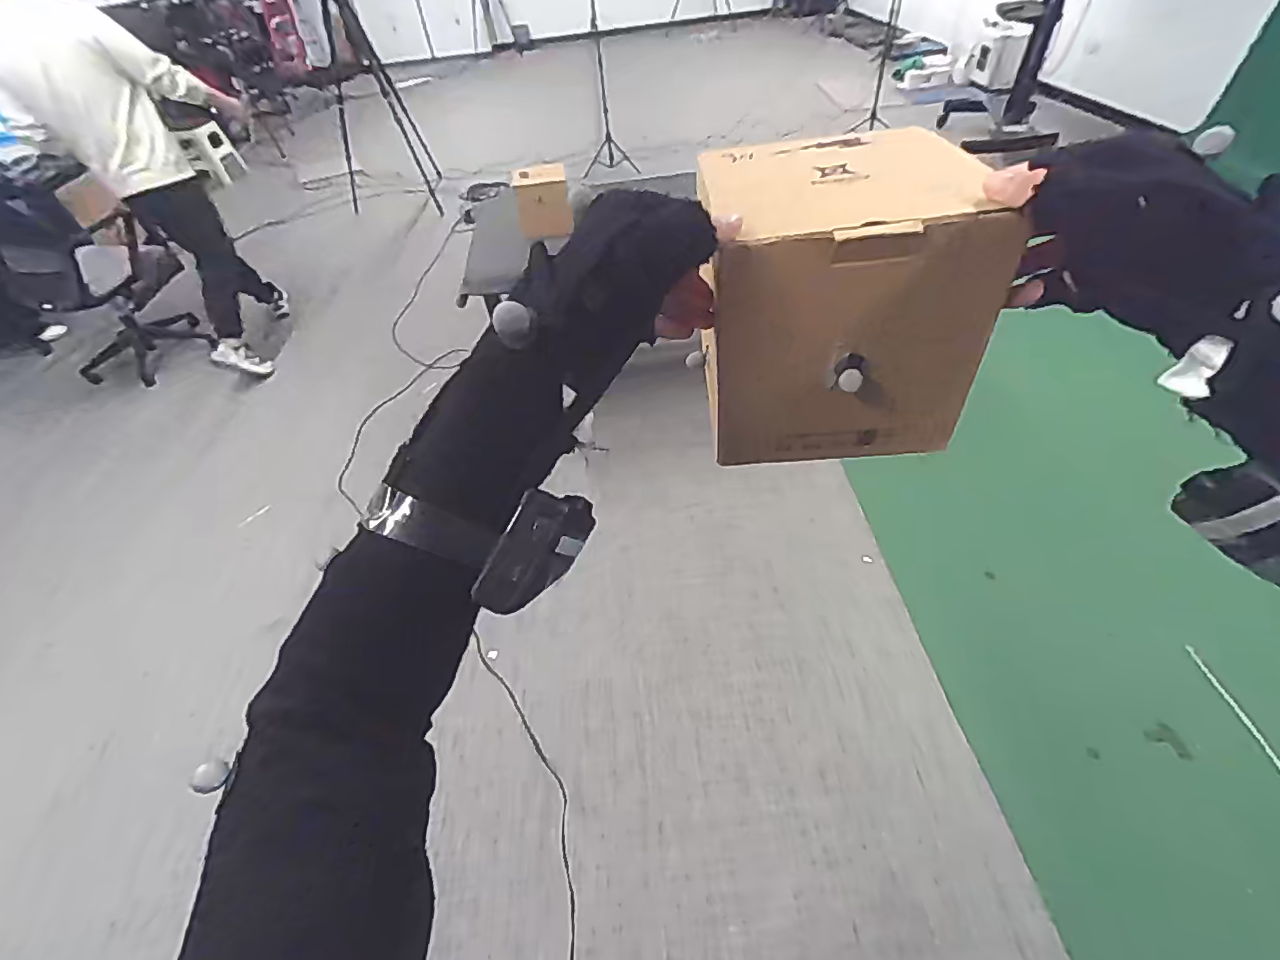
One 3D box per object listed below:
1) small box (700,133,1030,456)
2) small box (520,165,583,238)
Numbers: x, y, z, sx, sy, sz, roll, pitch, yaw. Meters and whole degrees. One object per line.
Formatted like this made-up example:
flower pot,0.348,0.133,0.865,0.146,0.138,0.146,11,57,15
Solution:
small box,0.136,-0.130,0.403,0.168,0.176,0.179,-4,45,5
small box,-0.292,-0.924,1.803,0.179,0.176,0.168,-8,47,-2
